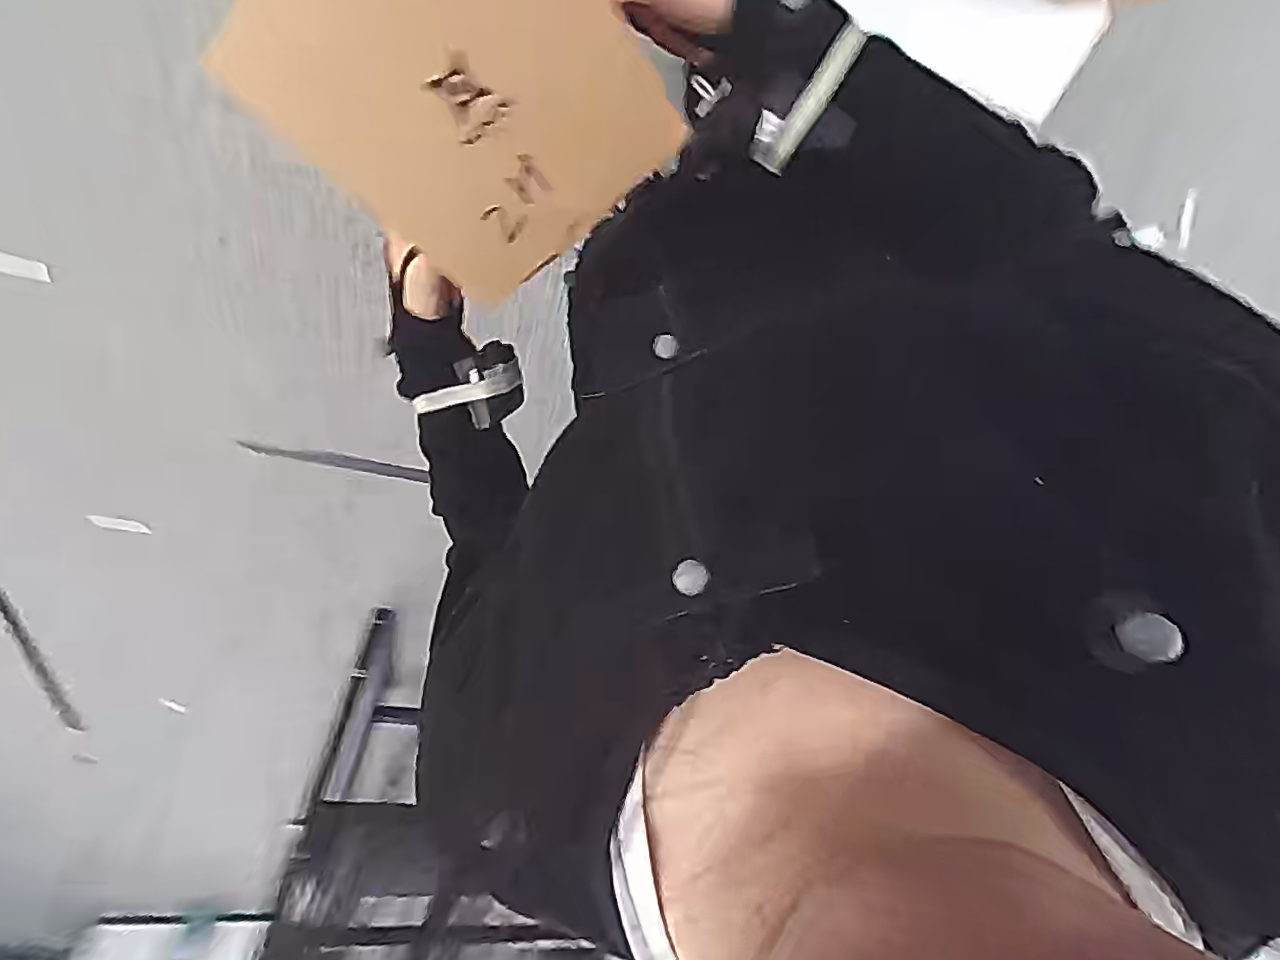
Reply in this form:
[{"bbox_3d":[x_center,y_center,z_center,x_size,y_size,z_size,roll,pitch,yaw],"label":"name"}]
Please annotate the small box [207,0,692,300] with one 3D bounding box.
[{"bbox_3d":[-0.096,-0.255,0.325,0.168,0.176,0.179,-31,136,22],"label":"small box"}]
